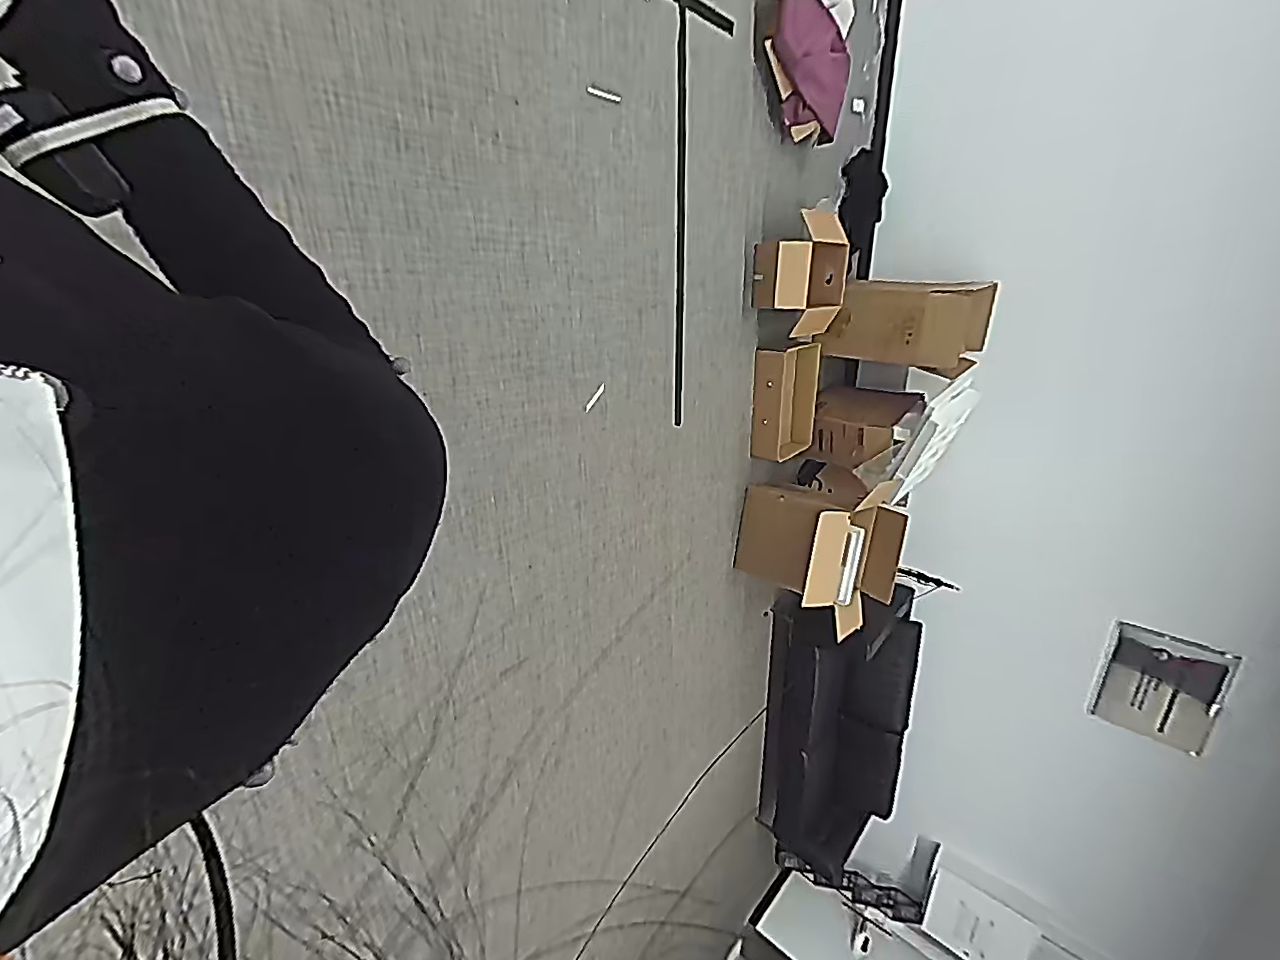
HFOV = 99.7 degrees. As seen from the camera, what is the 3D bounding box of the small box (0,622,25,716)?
[{"bbox_3d":[-1.082,0.280,0.815,0.168,0.176,0.179,-25,121,-43],"label":"small box"}]
